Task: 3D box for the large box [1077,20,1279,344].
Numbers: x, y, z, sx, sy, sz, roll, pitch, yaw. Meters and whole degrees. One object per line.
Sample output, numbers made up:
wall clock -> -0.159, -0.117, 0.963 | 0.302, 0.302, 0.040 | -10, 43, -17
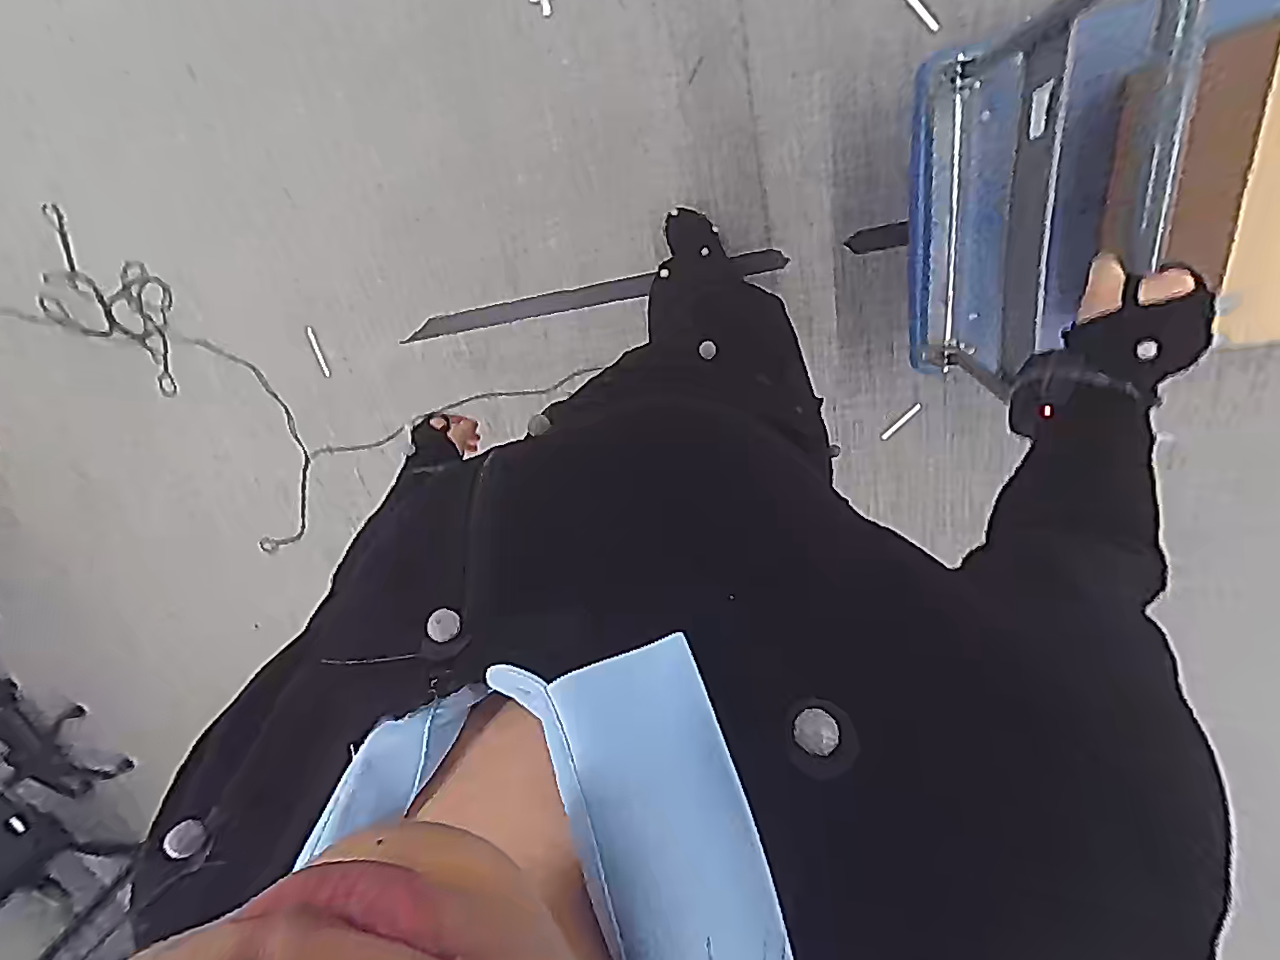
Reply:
large box -> 0.966, -0.459, 0.855 | 0.320, 0.320, 0.408 | -5, 113, 12
